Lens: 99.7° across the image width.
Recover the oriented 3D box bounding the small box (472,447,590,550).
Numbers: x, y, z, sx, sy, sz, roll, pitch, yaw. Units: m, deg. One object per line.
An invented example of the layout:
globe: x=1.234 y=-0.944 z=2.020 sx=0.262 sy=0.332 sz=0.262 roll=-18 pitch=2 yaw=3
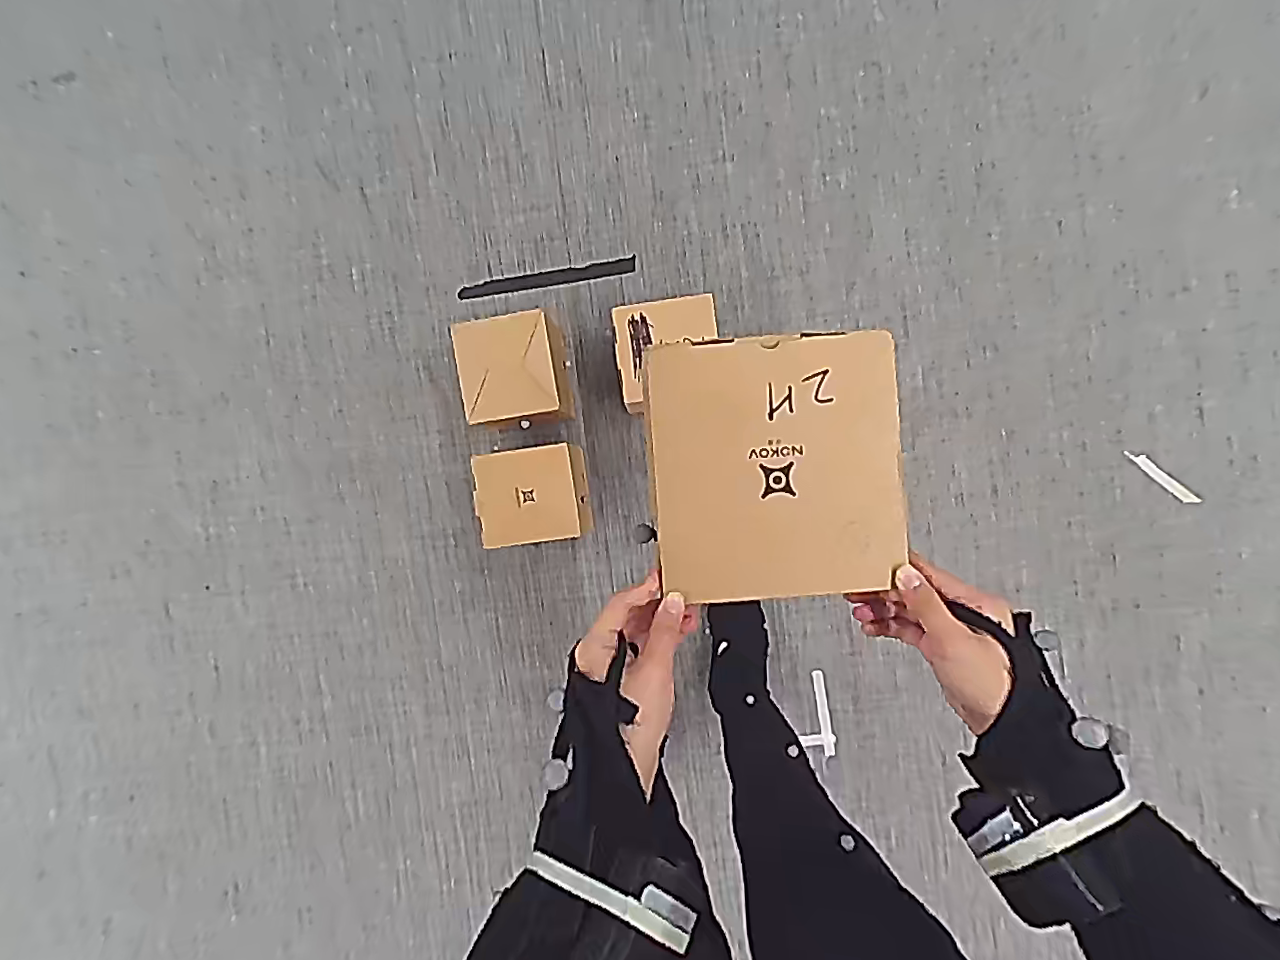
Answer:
small box: x=-0.194 y=0.028 z=1.017 sx=0.179 sy=0.176 sz=0.168 roll=-8 pitch=91 yaw=3

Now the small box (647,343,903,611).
small box: x=0.092 y=-0.003 z=0.443 sx=0.168 sy=0.176 sz=0.179 roll=-4 pitch=90 yaw=-1
